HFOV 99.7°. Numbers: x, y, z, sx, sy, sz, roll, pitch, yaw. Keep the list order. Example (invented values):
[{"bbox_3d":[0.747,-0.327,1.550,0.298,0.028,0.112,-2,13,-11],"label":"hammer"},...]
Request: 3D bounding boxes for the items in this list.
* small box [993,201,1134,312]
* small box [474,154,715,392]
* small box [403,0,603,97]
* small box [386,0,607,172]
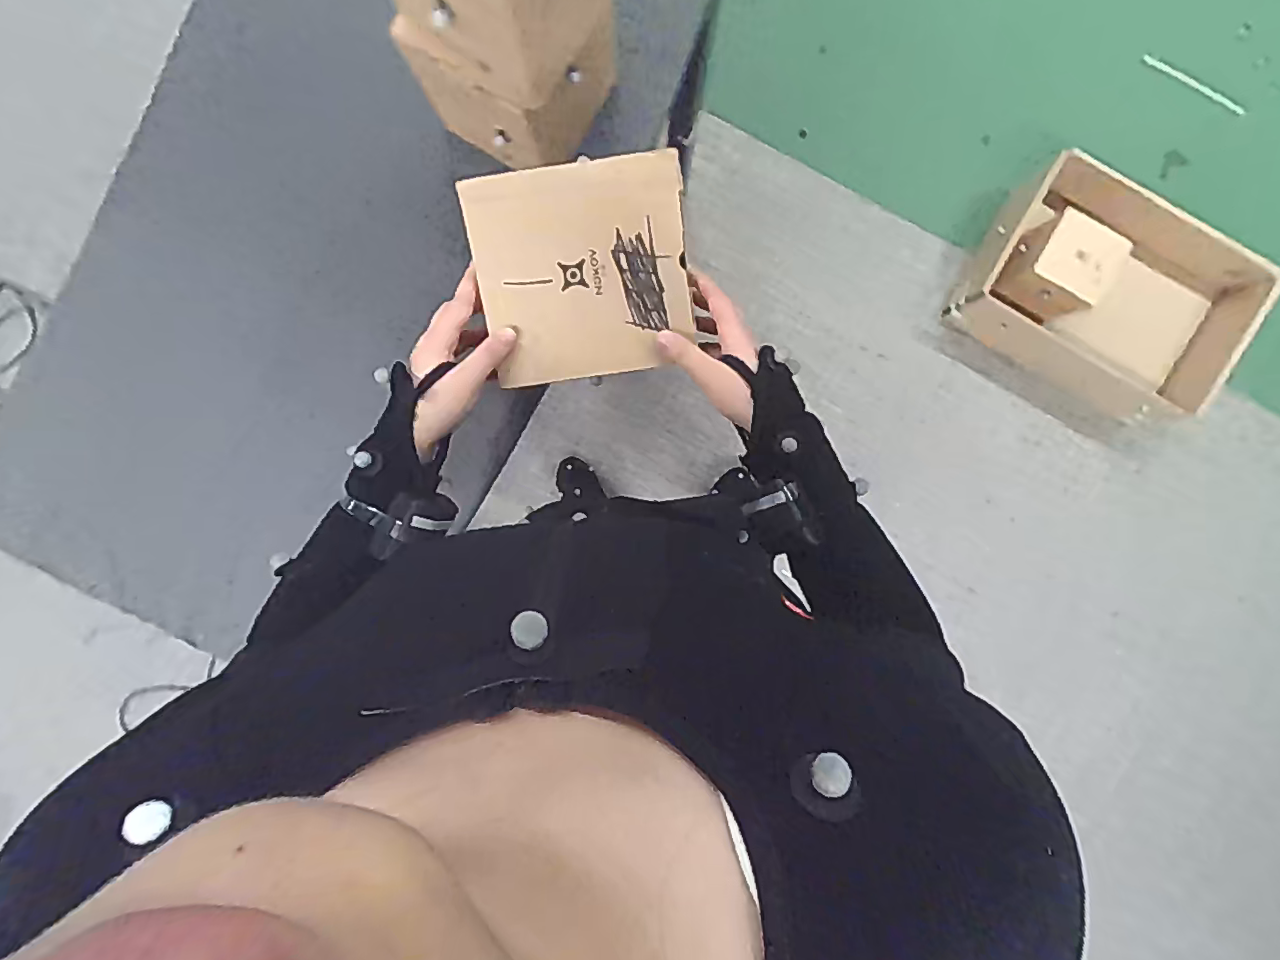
[{"bbox_3d":[1.011,-0.529,1.310,0.179,0.176,0.168,28,94,-3],"label":"small box"},{"bbox_3d":[-0.034,-0.184,0.507,0.179,0.176,0.168,-7,107,1],"label":"small box"},{"bbox_3d":[-0.127,-0.489,0.464,0.168,0.176,0.179,33,93,-2],"label":"small box"},{"bbox_3d":[-0.147,-0.496,0.628,0.168,0.176,0.179,30,92,-2],"label":"small box"}]
